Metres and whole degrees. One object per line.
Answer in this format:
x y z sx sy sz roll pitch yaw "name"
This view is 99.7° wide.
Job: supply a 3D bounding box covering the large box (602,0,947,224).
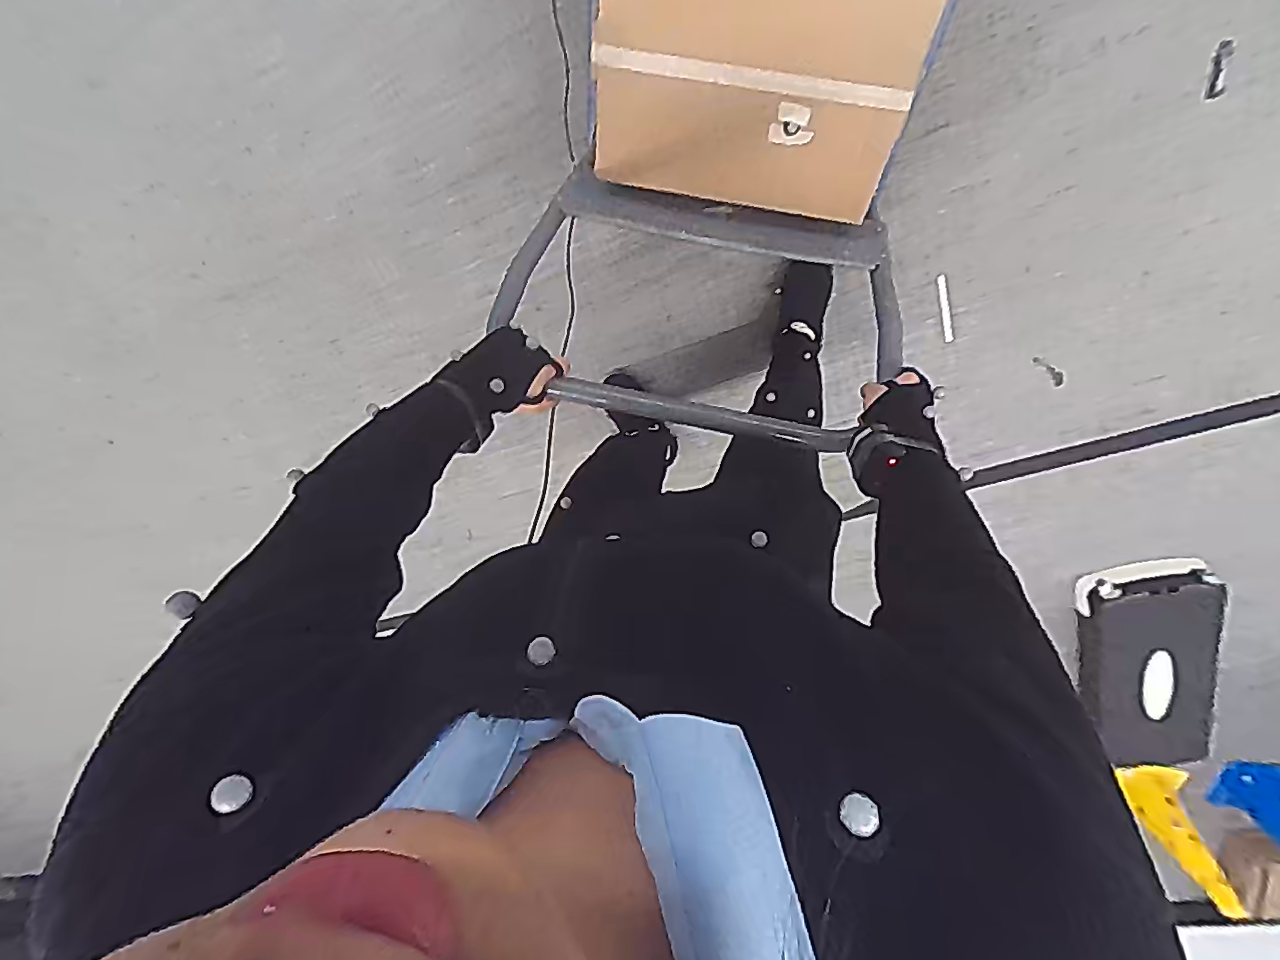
0.173 -0.625 0.801 0.408 0.320 0.320 12 139 3 "large box"
